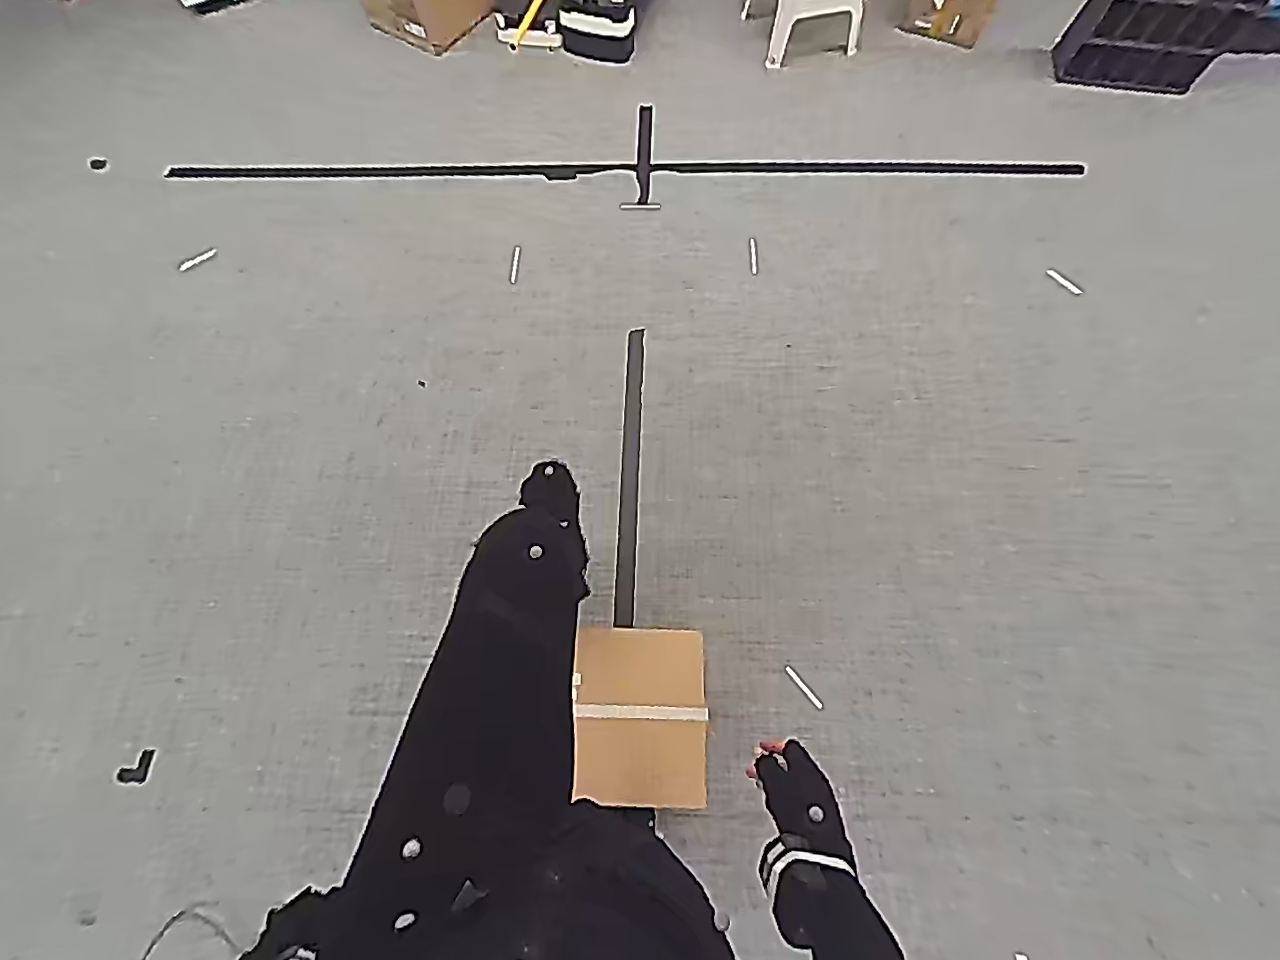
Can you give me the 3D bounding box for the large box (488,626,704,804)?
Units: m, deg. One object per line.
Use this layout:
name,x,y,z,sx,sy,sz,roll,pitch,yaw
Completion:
large box,-0.074,0.494,1.177,0.408,0.320,0.320,1,68,2
